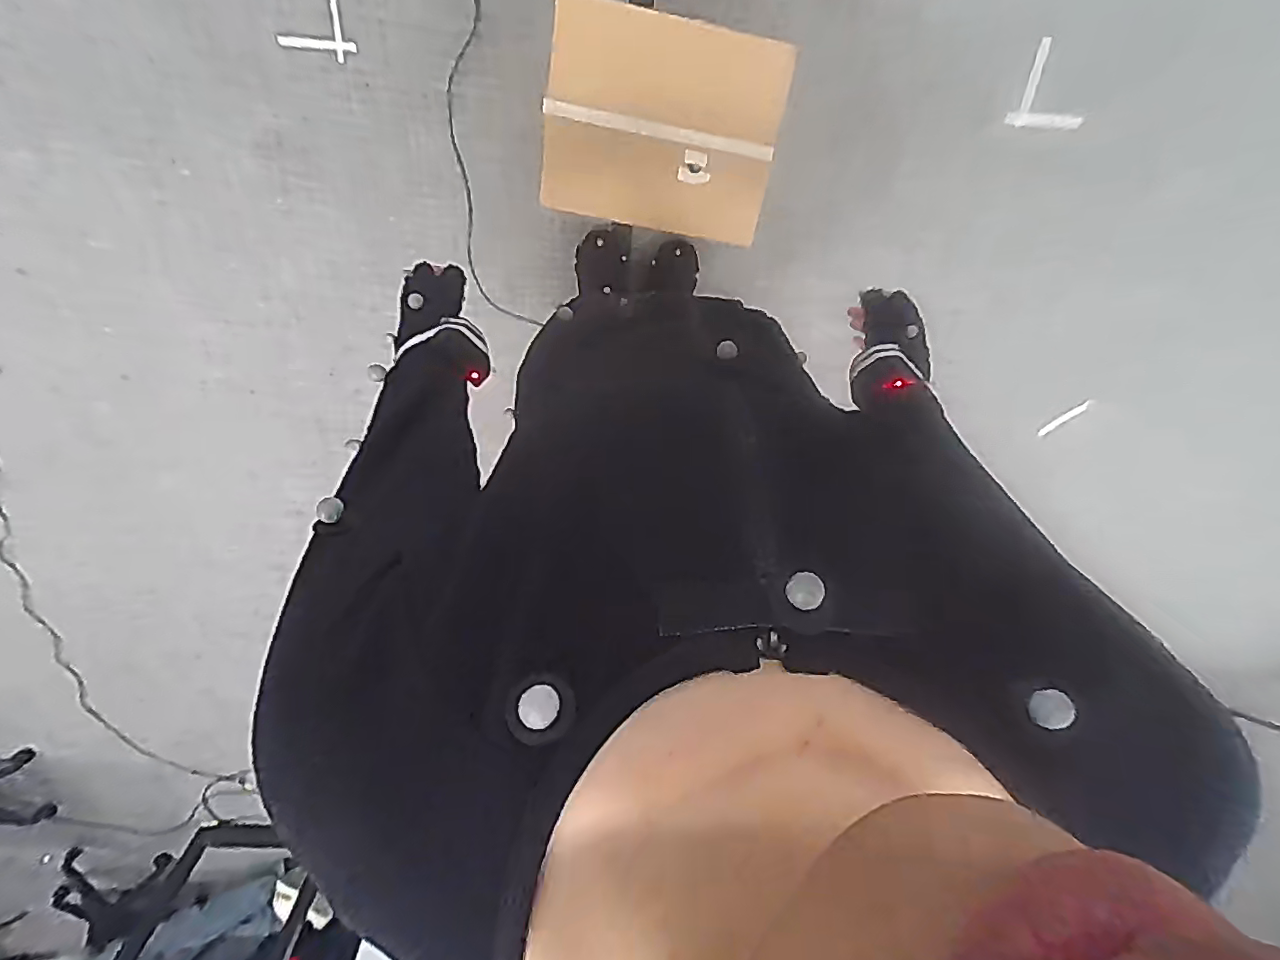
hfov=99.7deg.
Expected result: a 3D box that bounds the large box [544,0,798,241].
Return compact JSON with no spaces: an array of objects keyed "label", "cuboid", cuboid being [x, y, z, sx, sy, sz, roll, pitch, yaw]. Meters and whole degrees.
[{"label":"large box","cuboid":[0.033,-0.680,1.068,0.408,0.320,0.320,7,118,-8]}]
